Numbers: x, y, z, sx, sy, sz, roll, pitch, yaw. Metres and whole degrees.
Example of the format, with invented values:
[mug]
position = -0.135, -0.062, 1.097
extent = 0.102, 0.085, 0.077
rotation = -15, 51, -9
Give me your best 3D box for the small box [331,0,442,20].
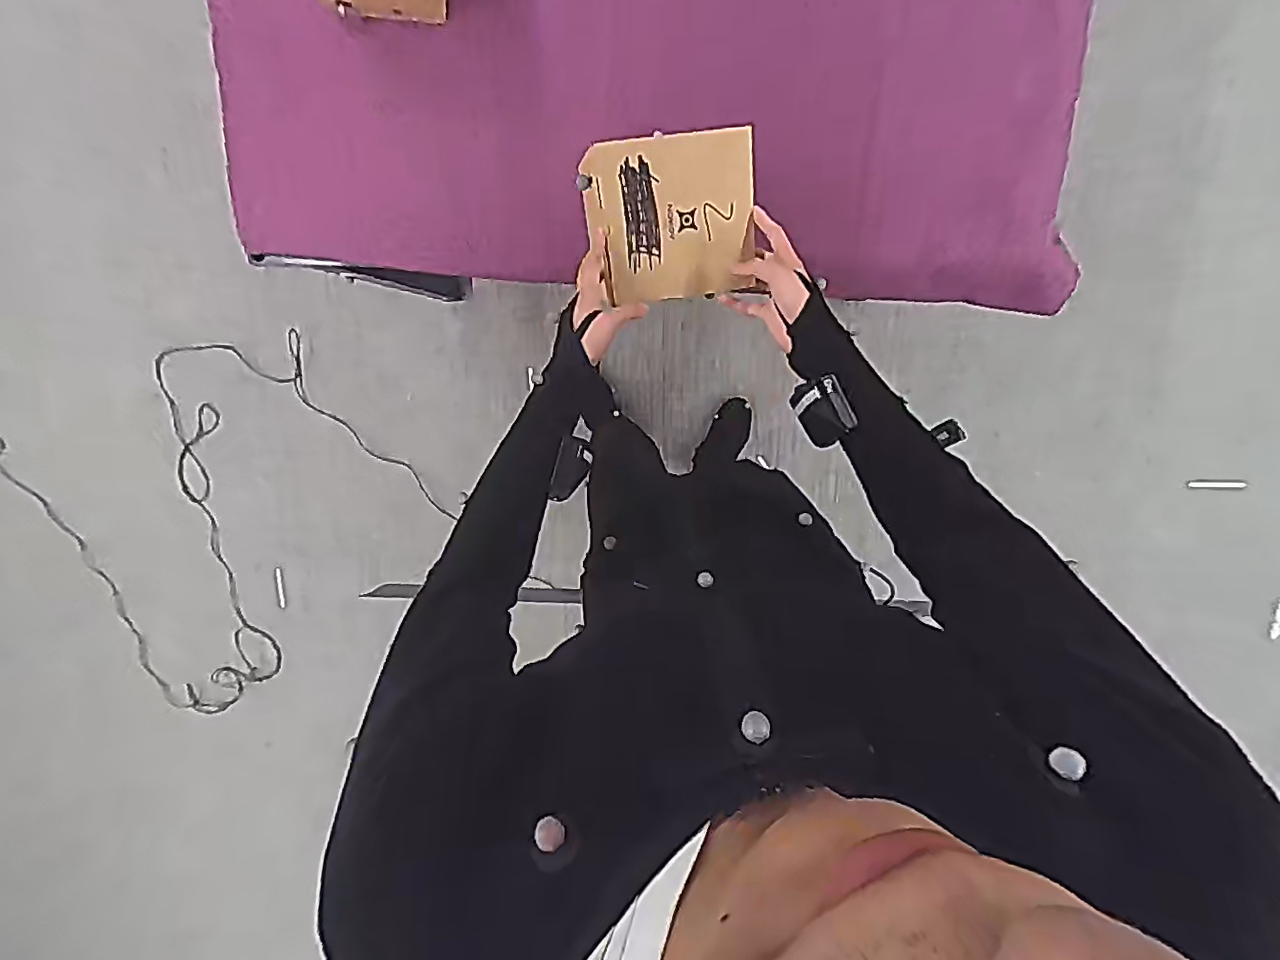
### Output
[small box]
position = -0.349, -0.712, 0.661
extent = 0.168, 0.176, 0.179
rotation = 6, 103, 1
